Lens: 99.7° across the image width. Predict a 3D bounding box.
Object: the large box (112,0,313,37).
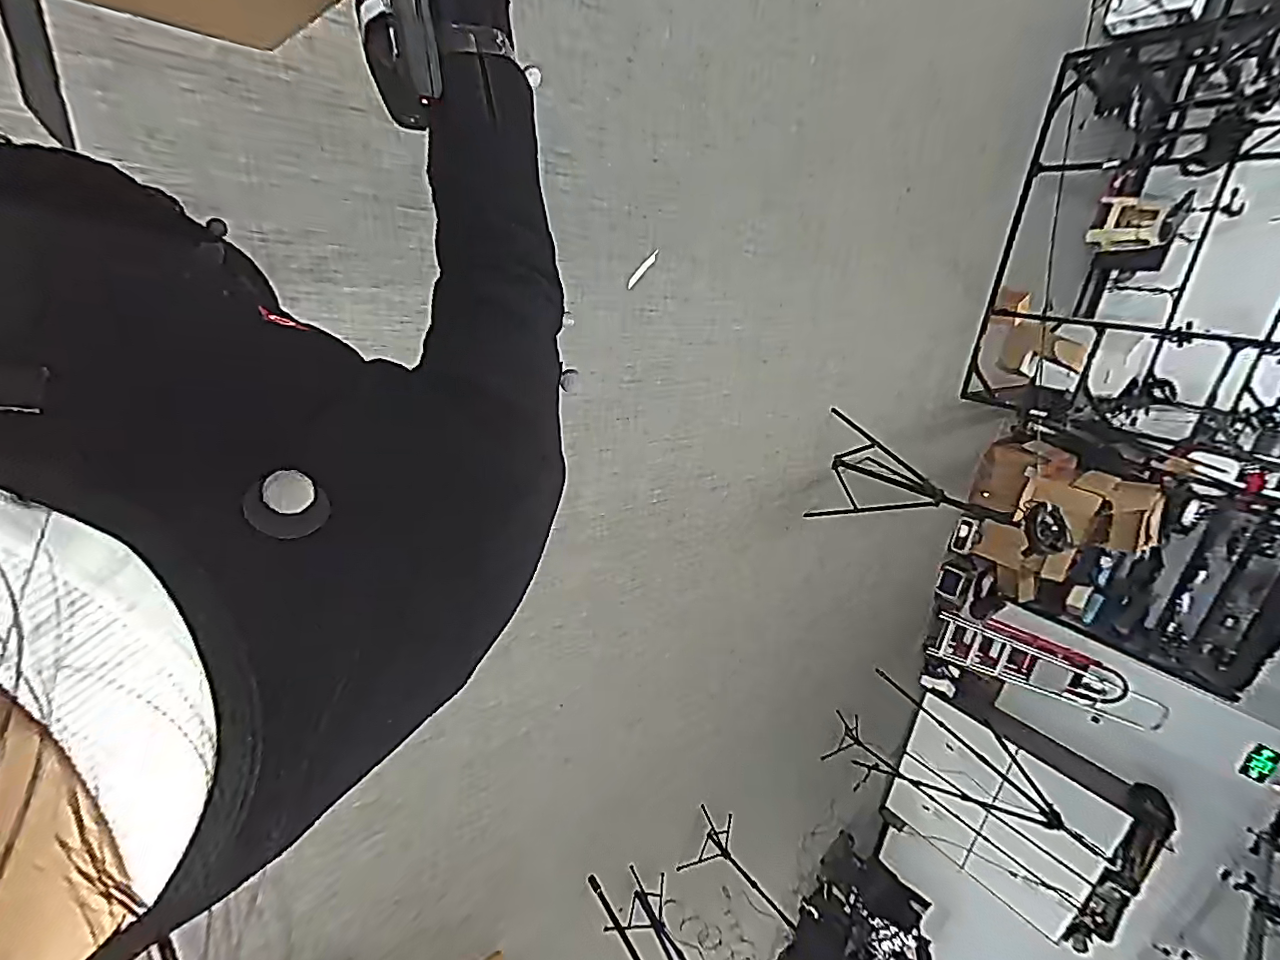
[{"bbox_3d":[-0.385,-0.453,0.225,0.408,0.320,0.320,-15,124,-40],"label":"large box"}]
